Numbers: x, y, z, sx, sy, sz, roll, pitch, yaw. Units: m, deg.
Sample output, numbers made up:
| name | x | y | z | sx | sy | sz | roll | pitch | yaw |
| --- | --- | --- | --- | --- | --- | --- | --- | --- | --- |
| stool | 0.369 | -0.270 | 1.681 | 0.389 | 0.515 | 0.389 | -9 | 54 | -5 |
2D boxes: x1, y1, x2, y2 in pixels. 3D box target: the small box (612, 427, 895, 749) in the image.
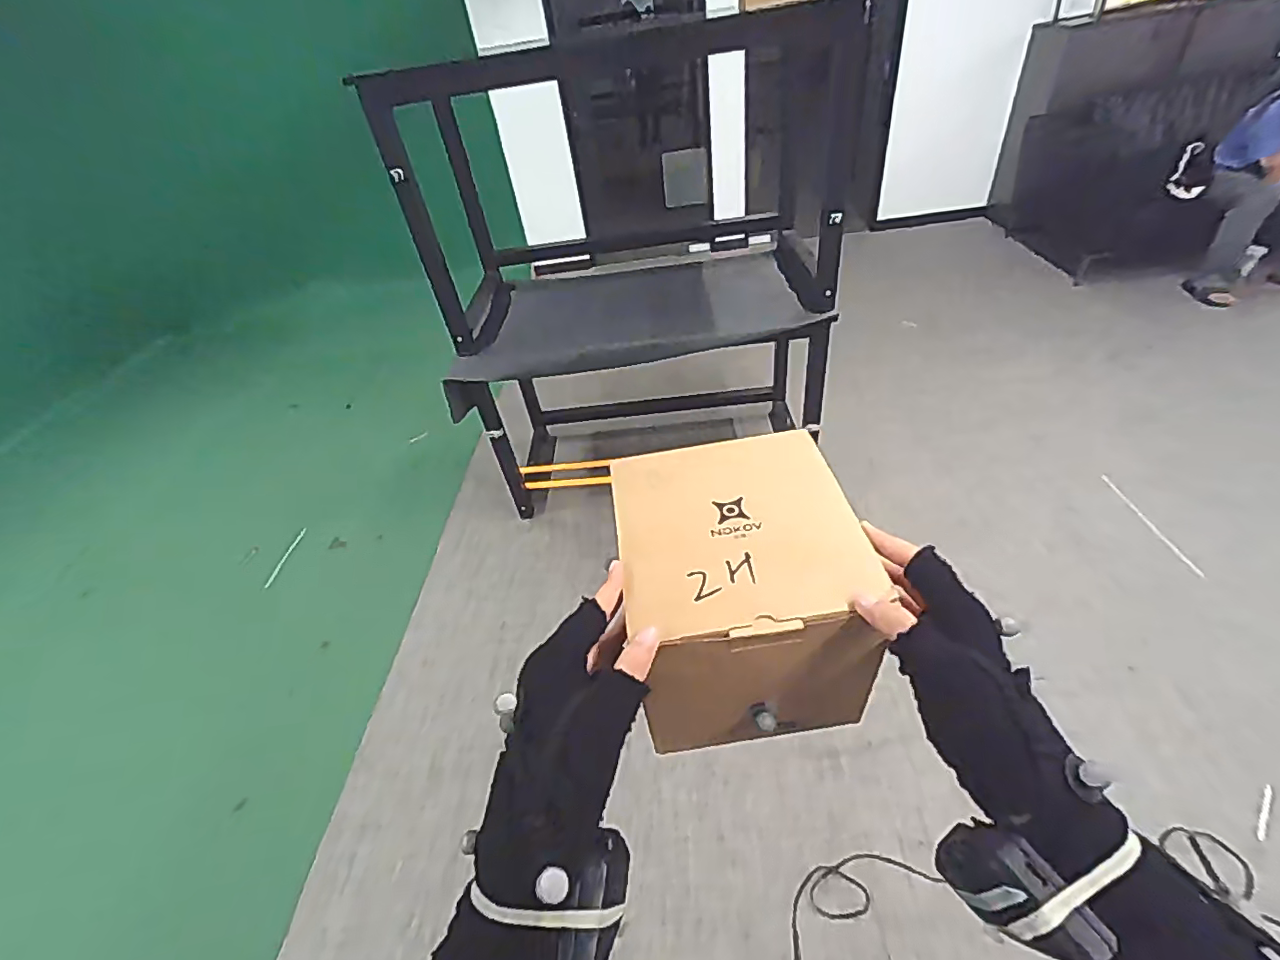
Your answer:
| name | x | y | z | sx | sy | sz | roll | pitch | yaw |
| --- | --- | --- | --- | --- | --- | --- | --- | --- | --- |
| small box | 0.073 | 0.084 | 0.432 | 0.168 | 0.176 | 0.179 | -9 | 41 | 1 |
